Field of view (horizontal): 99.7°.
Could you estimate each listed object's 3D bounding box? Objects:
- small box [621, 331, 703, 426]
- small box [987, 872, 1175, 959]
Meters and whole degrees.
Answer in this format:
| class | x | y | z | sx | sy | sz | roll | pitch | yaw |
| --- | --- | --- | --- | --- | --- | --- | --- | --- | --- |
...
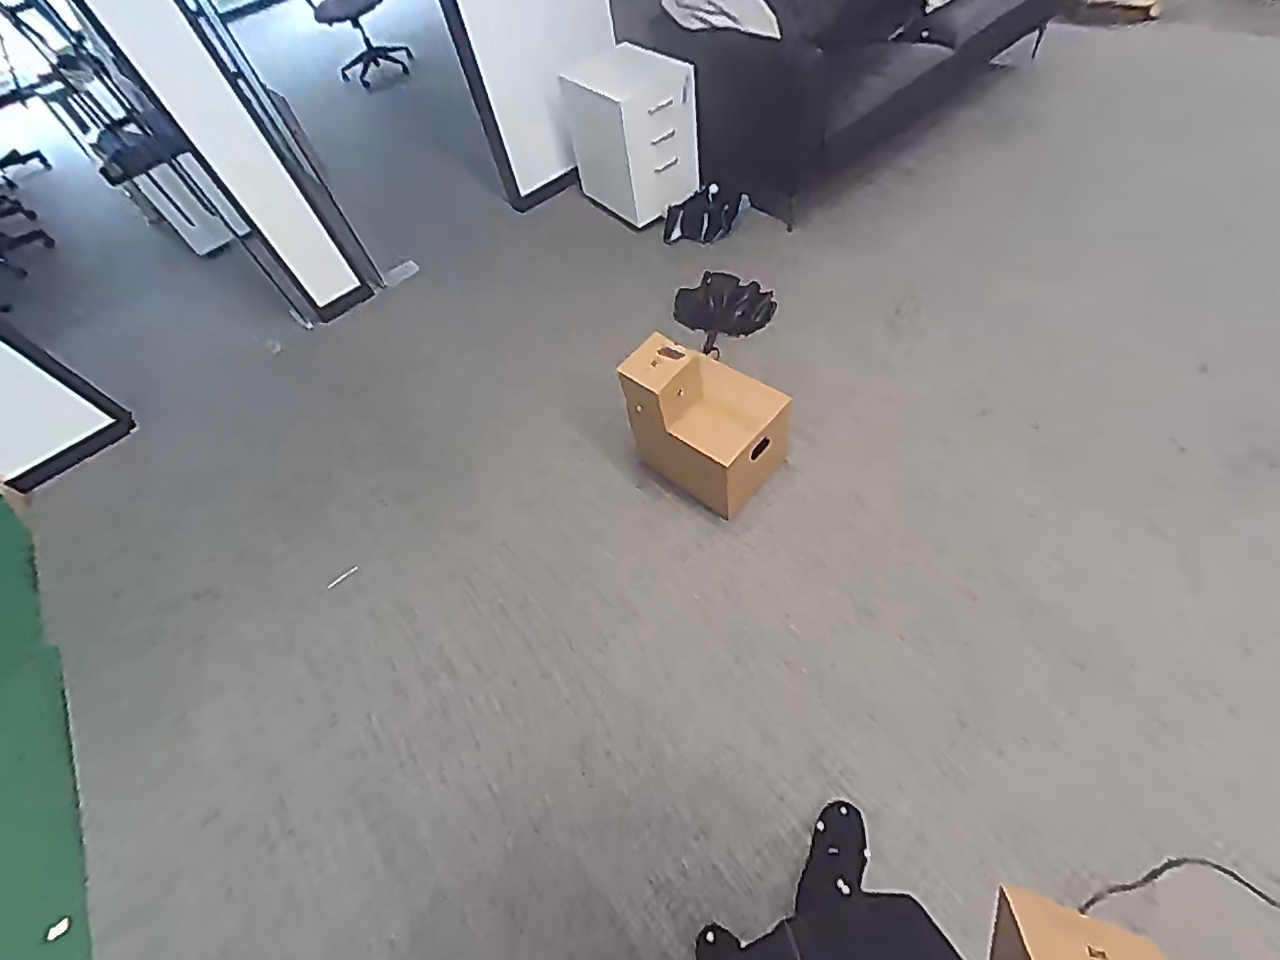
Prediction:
| class | x | y | z | sx | sy | sz | roll | pitch | yaw |
| --- | --- | --- | --- | --- | --- | --- | --- | --- | --- |
| small box | 0.072 | -0.296 | 1.592 | 0.168 | 0.176 | 0.179 | 36 | 73 | 29 |
| small box | 0.518 | 0.619 | 0.627 | 0.168 | 0.179 | 0.176 | 10 | 87 | 24 |
